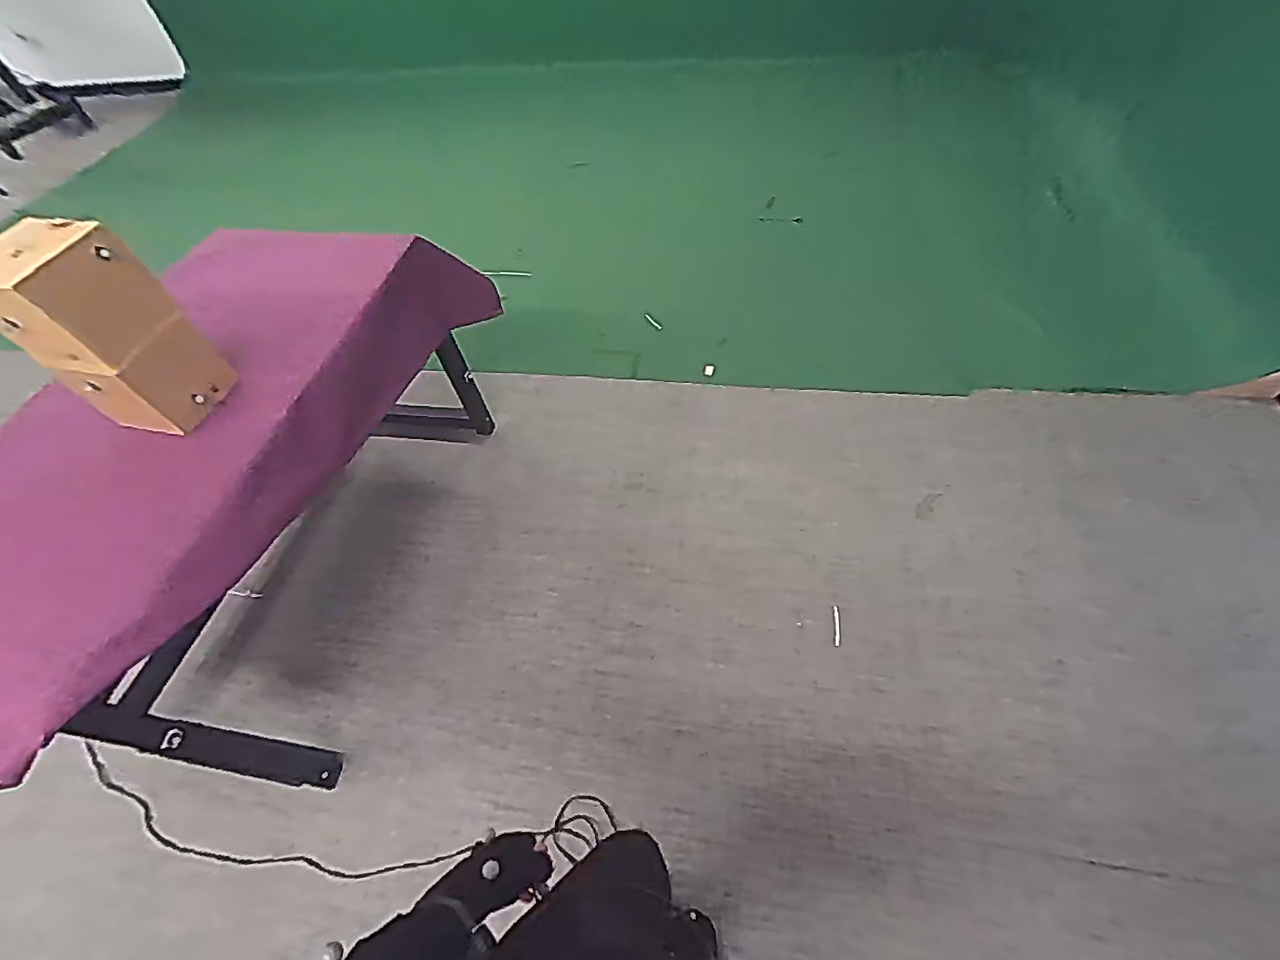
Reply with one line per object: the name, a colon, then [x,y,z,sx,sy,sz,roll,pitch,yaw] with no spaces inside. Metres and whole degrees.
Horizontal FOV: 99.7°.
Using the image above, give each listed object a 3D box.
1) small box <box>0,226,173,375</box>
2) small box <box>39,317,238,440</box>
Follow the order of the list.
small box: [-0.946,-0.293,0.894,0.168,0.176,0.179,7,56,12]
small box: [-0.930,-0.195,1.022,0.179,0.176,0.168,9,57,12]
